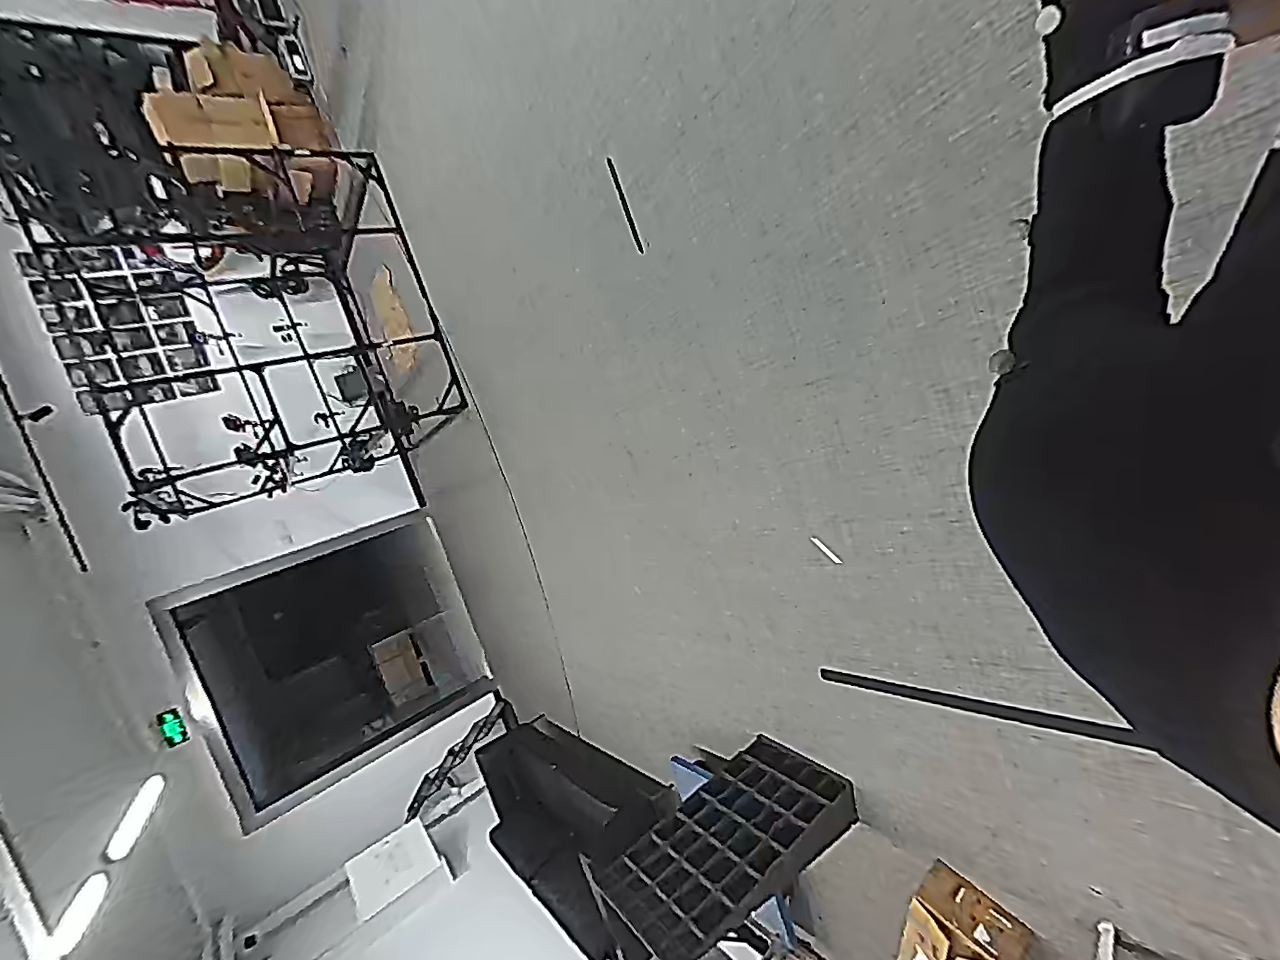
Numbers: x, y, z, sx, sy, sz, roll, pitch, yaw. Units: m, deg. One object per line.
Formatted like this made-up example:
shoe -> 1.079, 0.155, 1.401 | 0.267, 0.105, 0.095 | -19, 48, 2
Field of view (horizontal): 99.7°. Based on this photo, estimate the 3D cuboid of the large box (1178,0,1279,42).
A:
large box -> 0.541, -0.498, 0.248 | 0.408, 0.320, 0.320 | 6, 117, 50
